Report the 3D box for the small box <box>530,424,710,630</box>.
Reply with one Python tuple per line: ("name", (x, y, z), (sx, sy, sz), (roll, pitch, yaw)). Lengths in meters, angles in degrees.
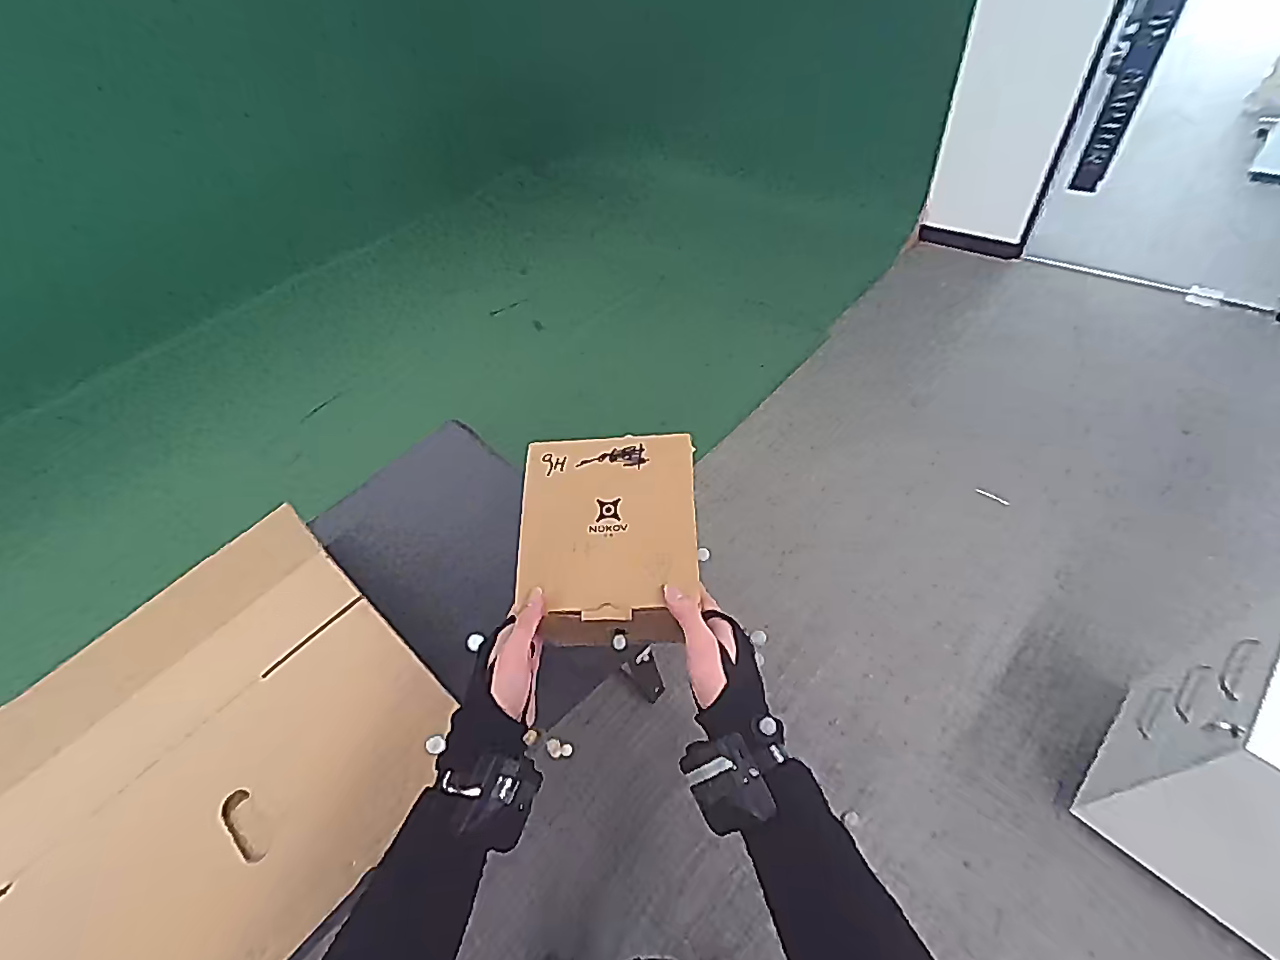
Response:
("small box", (-0.013, 0.062, 0.586), (0.168, 0.176, 0.179), (-5, 64, 4))
